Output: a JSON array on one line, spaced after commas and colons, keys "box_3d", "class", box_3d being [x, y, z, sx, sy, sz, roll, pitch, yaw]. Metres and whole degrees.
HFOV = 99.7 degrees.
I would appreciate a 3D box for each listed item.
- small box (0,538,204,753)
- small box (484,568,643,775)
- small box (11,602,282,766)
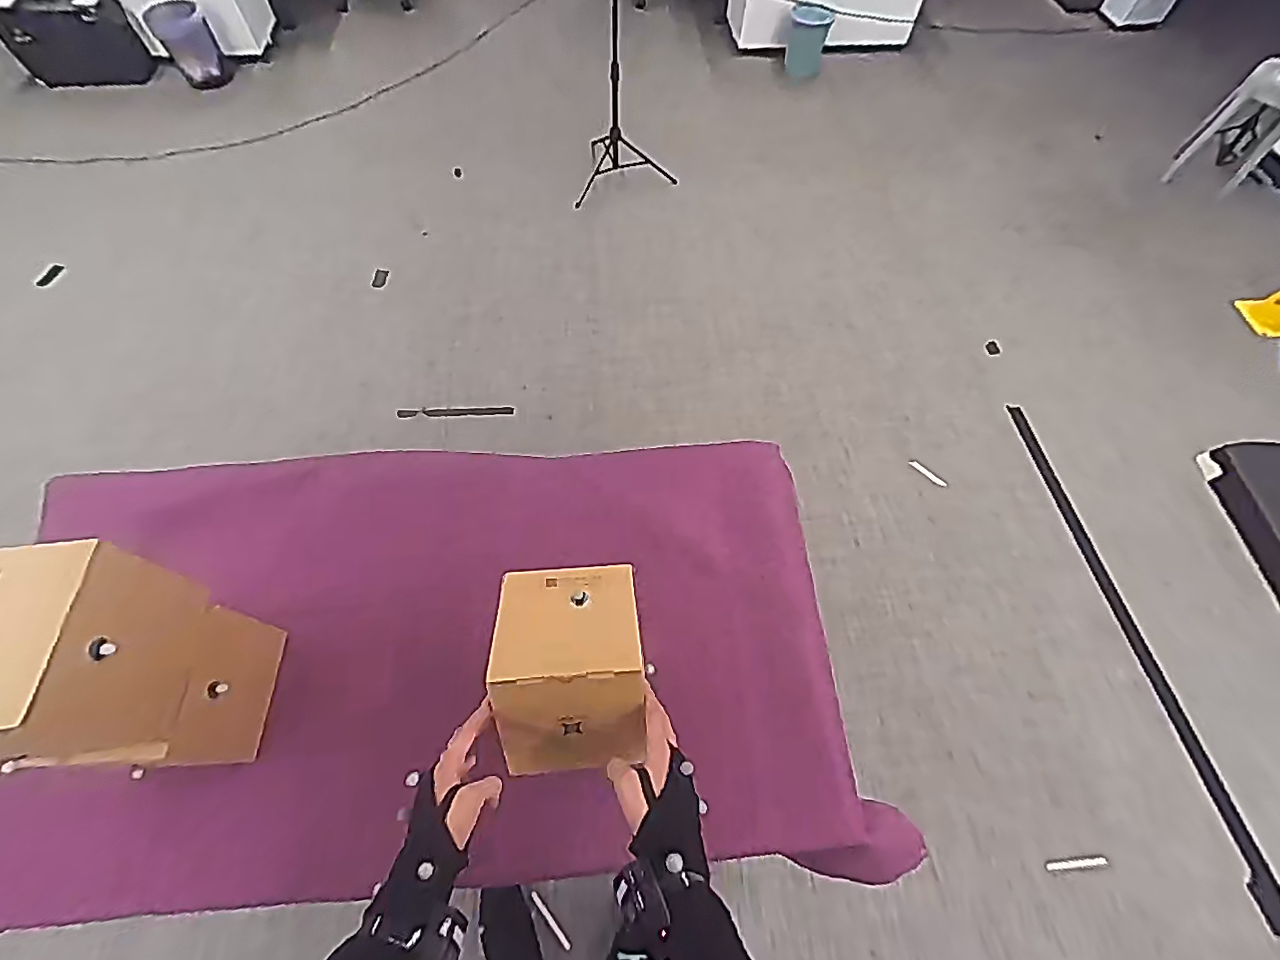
[{"box_3d": [-0.602, 0.177, 0.555, 0.168, 0.176, 0.179, -4, 61, -5], "class": "small box"}, {"box_3d": [-0.084, 0.232, 0.672, 0.168, 0.179, 0.176, -4, 30, -3], "class": "small box"}, {"box_3d": [-0.602, 0.266, 0.694, 0.168, 0.176, 0.179, -1, 61, -3], "class": "small box"}]
